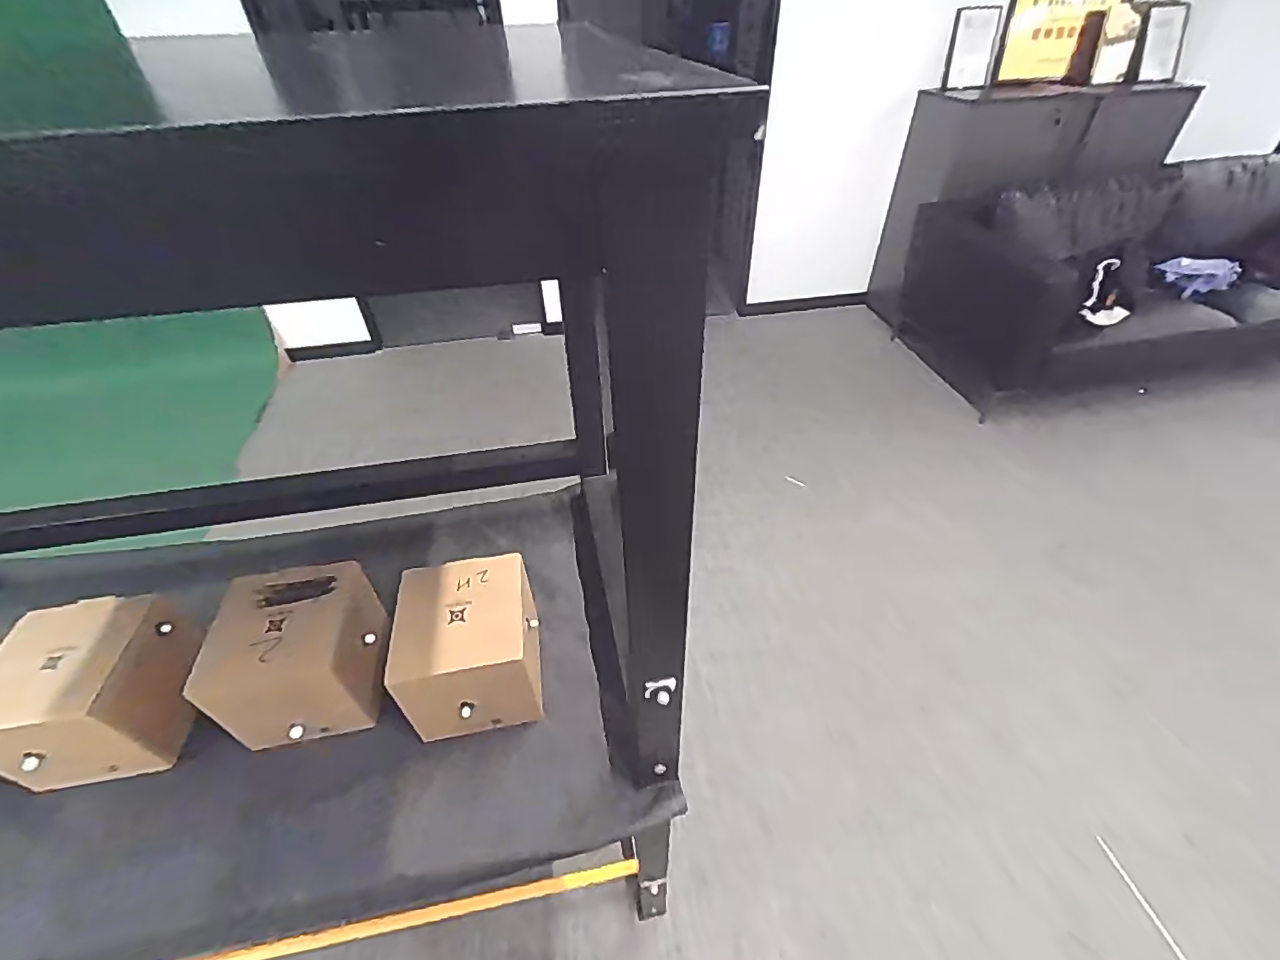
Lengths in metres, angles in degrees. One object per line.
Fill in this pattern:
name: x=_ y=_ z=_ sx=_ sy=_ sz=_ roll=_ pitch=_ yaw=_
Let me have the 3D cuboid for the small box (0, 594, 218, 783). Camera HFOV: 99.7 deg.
small box: x=-0.721 y=0.284 z=0.728 sx=0.168 sy=0.176 sz=0.179 roll=-7 pitch=42 yaw=-7

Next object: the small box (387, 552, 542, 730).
small box: x=-0.235 y=0.233 z=0.767 sx=0.168 sy=0.176 sz=0.179 roll=-8 pitch=42 yaw=-7
